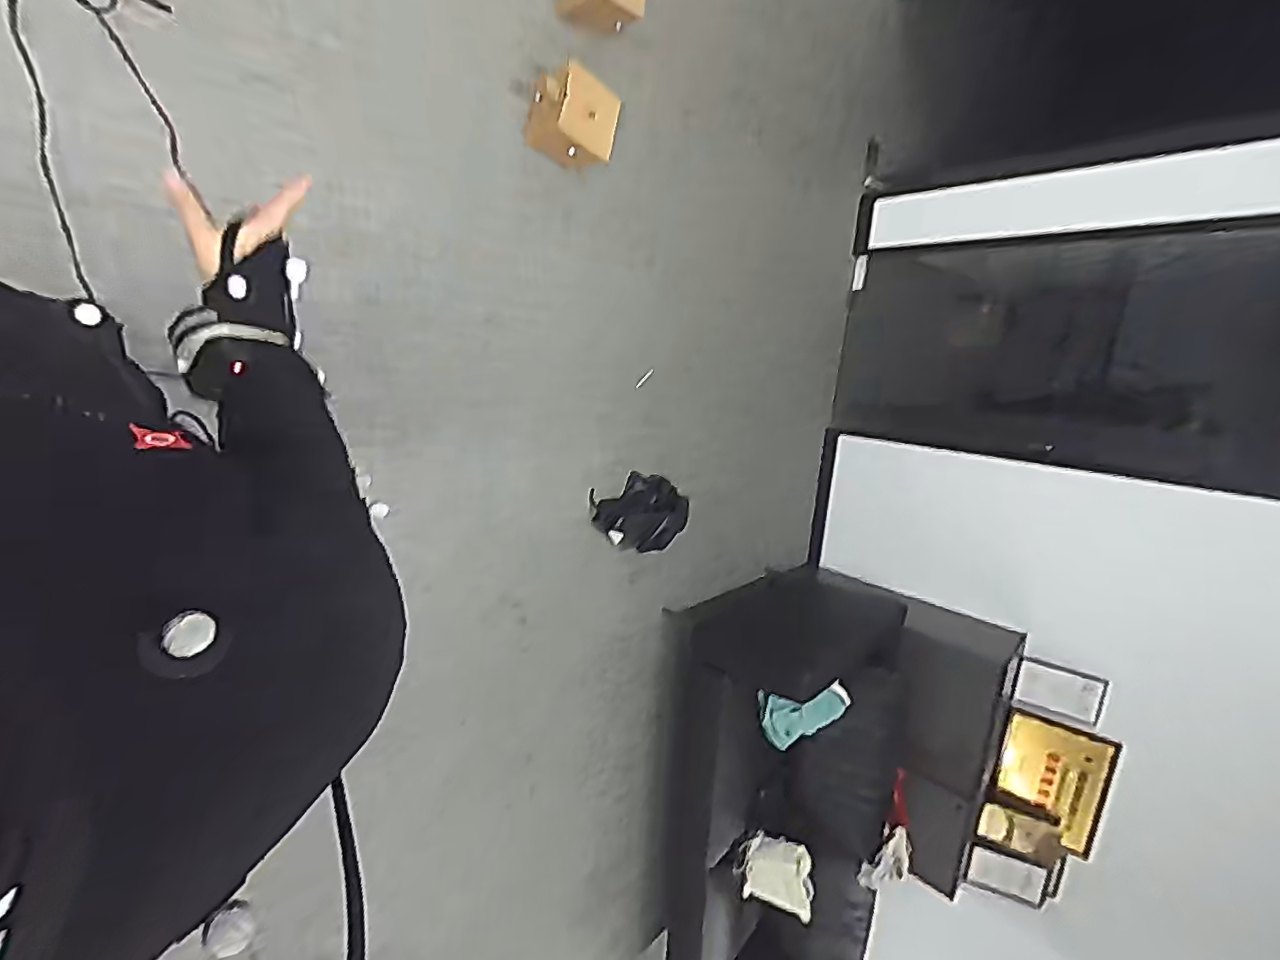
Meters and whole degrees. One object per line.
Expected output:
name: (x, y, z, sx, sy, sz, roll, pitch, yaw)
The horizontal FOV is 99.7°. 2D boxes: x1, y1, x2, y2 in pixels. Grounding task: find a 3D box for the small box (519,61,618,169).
small box: (-0.191, -0.958, 1.441, 0.179, 0.176, 0.168, 7, 97, -47)
